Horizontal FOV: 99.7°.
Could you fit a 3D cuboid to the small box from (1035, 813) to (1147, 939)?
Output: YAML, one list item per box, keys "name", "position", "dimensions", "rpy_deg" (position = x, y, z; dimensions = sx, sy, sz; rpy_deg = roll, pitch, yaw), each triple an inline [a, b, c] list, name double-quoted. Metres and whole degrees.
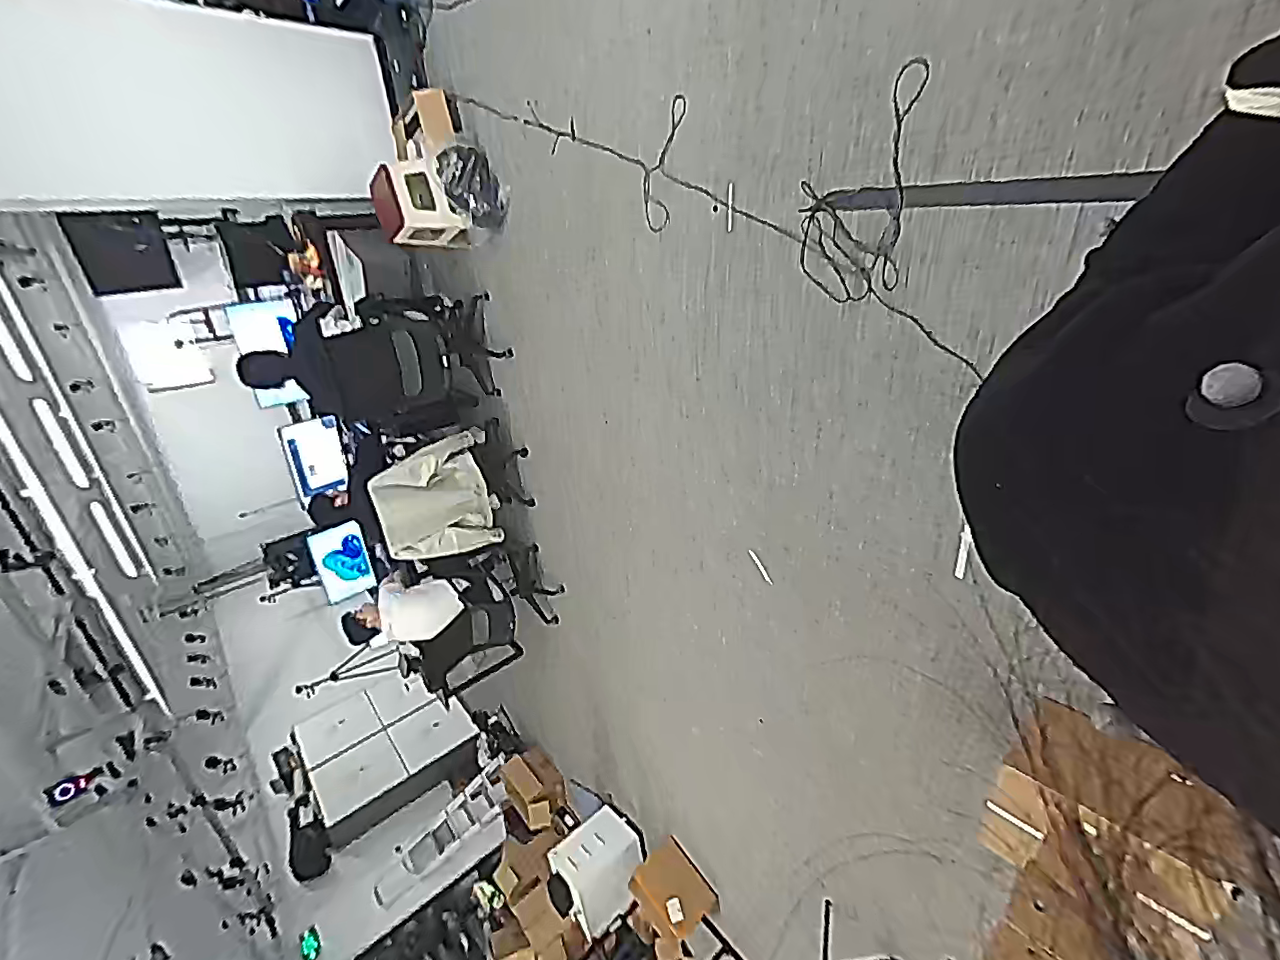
- name: "small box"
  position: [0.977, 0.894, 1.192]
  dimensions: [0.168, 0.176, 0.179]
  rpy_deg: [21, 124, 45]

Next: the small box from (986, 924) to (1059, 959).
- name: "small box"
  position: [0.731, 0.994, 1.003]
  dimensions: [0.168, 0.176, 0.179]
  rpy_deg: [15, 120, 49]

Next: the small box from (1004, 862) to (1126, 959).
- name: "small box"
  position: [0.852, 0.938, 1.099]
  dimensions: [0.168, 0.176, 0.179]
  rpy_deg: [20, 125, 47]
